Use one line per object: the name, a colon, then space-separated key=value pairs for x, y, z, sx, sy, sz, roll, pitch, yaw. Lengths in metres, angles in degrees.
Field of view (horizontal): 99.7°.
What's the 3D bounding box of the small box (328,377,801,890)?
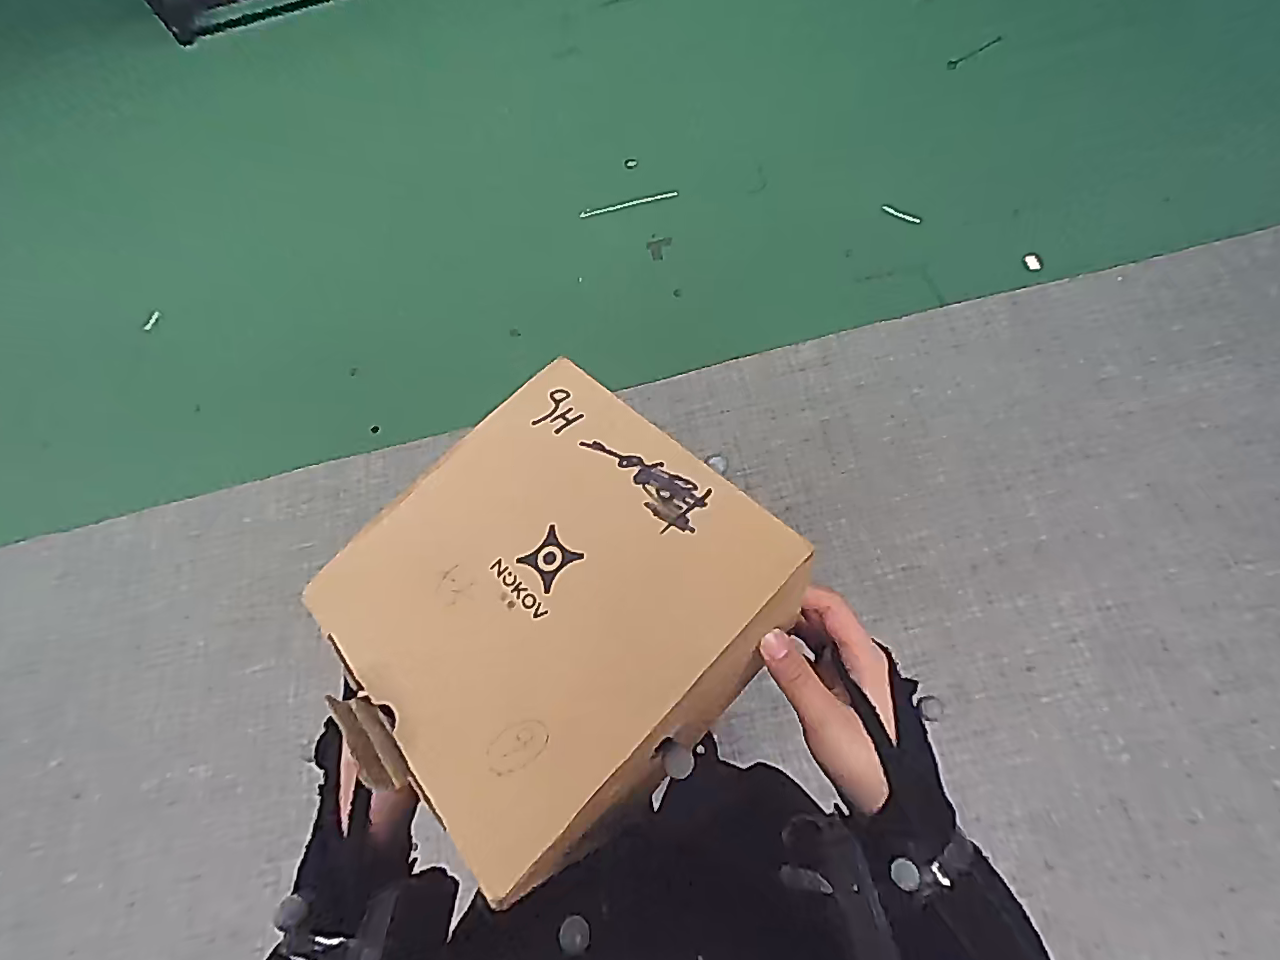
small box: x=-0.026 y=0.082 z=0.319 sx=0.179 sy=0.176 sz=0.168 roll=-45 pitch=64 yaw=-10
